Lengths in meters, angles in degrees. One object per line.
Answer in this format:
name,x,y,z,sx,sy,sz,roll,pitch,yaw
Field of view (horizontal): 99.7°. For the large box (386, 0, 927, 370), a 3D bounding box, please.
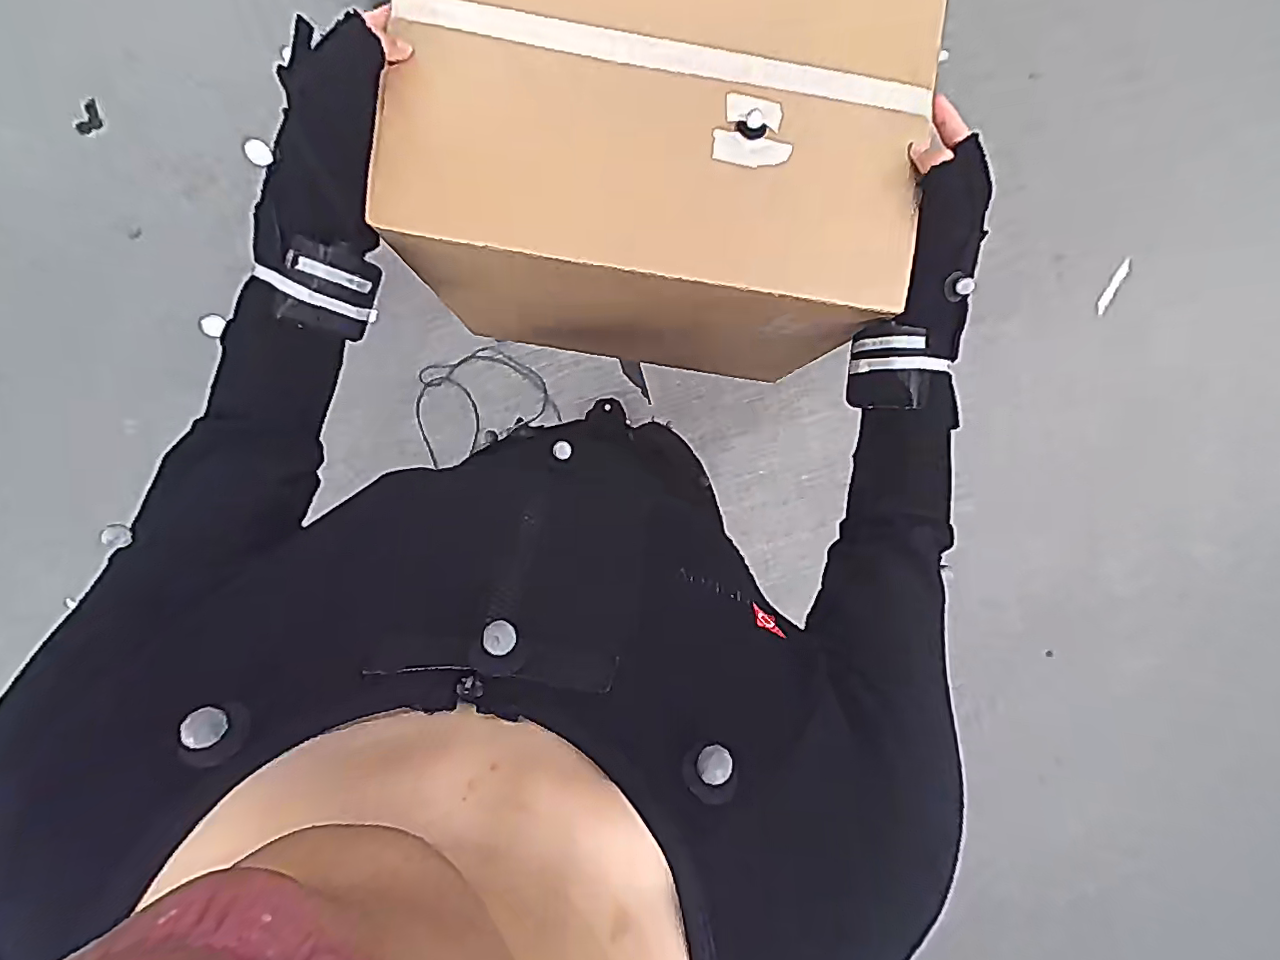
large box,0.010,-0.319,0.564,0.408,0.320,0.320,7,90,-4
